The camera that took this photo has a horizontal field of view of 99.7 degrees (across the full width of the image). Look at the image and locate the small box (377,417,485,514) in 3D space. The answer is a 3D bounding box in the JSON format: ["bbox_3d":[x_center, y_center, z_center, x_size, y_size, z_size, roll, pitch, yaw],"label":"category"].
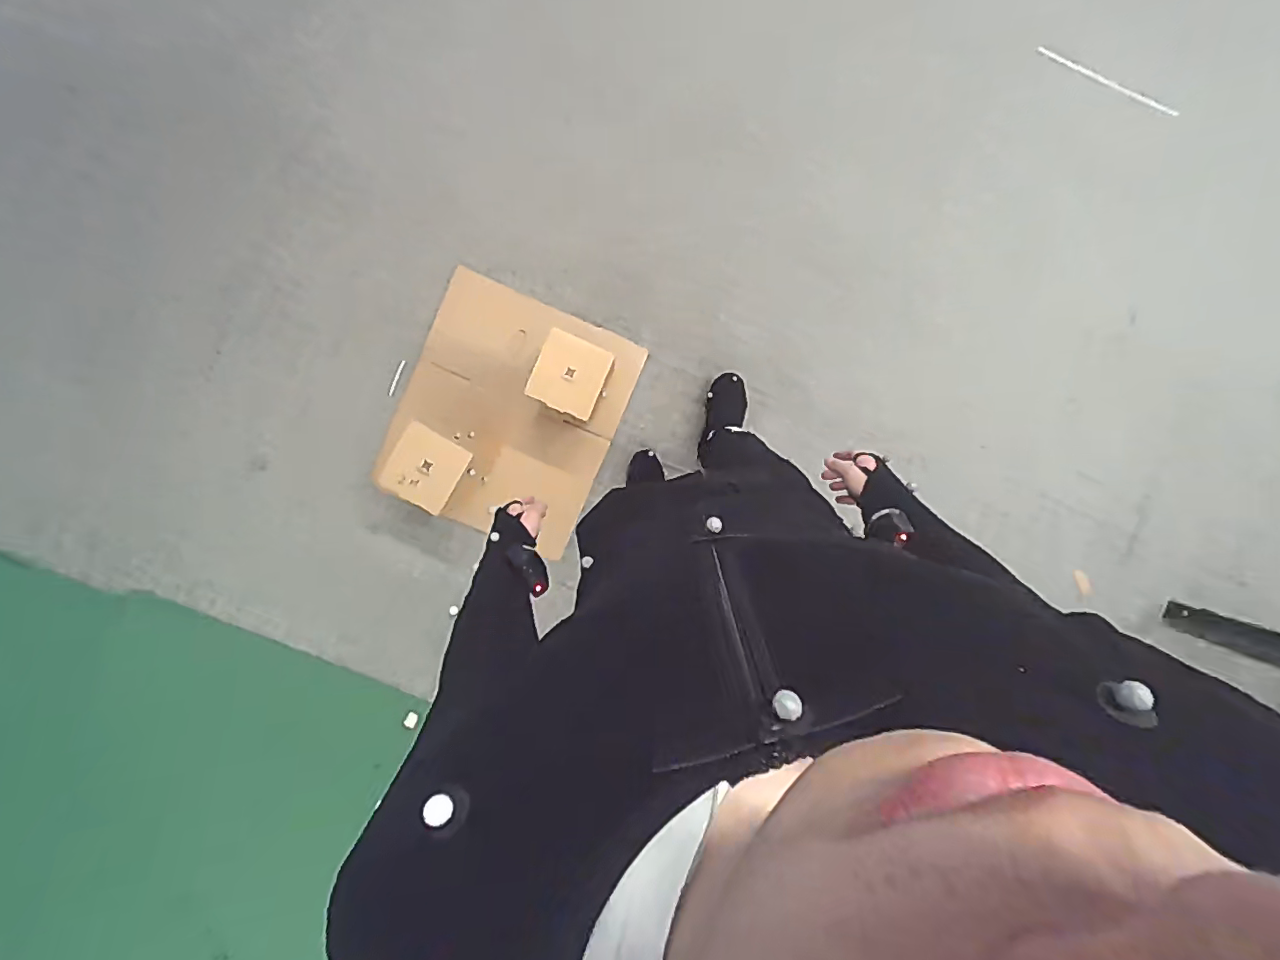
[{"bbox_3d":[-0.505,-0.038,1.342,0.168,0.176,0.179,31,92,-4],"label":"small box"}]

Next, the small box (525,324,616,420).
[{"bbox_3d":[-0.170,-0.261,1.346,0.168,0.176,0.179,23,94,-5],"label":"small box"}]

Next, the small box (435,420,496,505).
[{"bbox_3d":[-0.520,-0.050,1.507,0.168,0.176,0.179,31,92,-4],"label":"small box"}]
